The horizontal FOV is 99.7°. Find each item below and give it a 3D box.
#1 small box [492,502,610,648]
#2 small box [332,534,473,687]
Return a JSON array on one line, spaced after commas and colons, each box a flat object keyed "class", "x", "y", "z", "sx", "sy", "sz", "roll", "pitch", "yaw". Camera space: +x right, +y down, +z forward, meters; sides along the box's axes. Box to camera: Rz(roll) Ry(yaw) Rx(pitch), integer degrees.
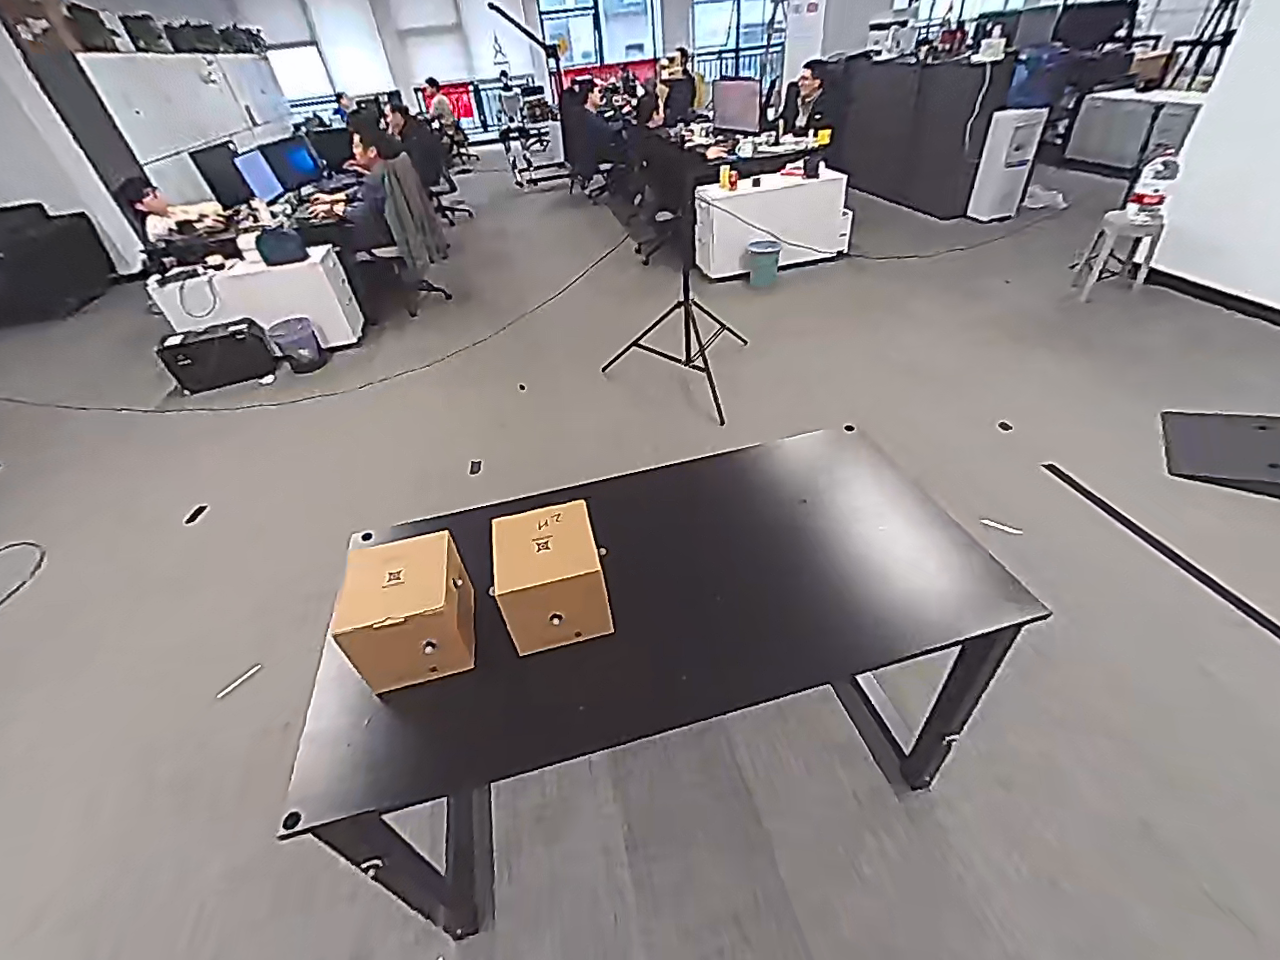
[{"class": "small box", "x": -0.153, "y": 0.170, "z": 0.939, "sx": 0.168, "sy": 0.176, "sz": 0.179, "roll": -12, "pitch": 39, "yaw": -7}, {"class": "small box", "x": -0.385, "y": 0.224, "z": 0.912, "sx": 0.168, "sy": 0.176, "sz": 0.179, "roll": -12, "pitch": 38, "yaw": -9}]
